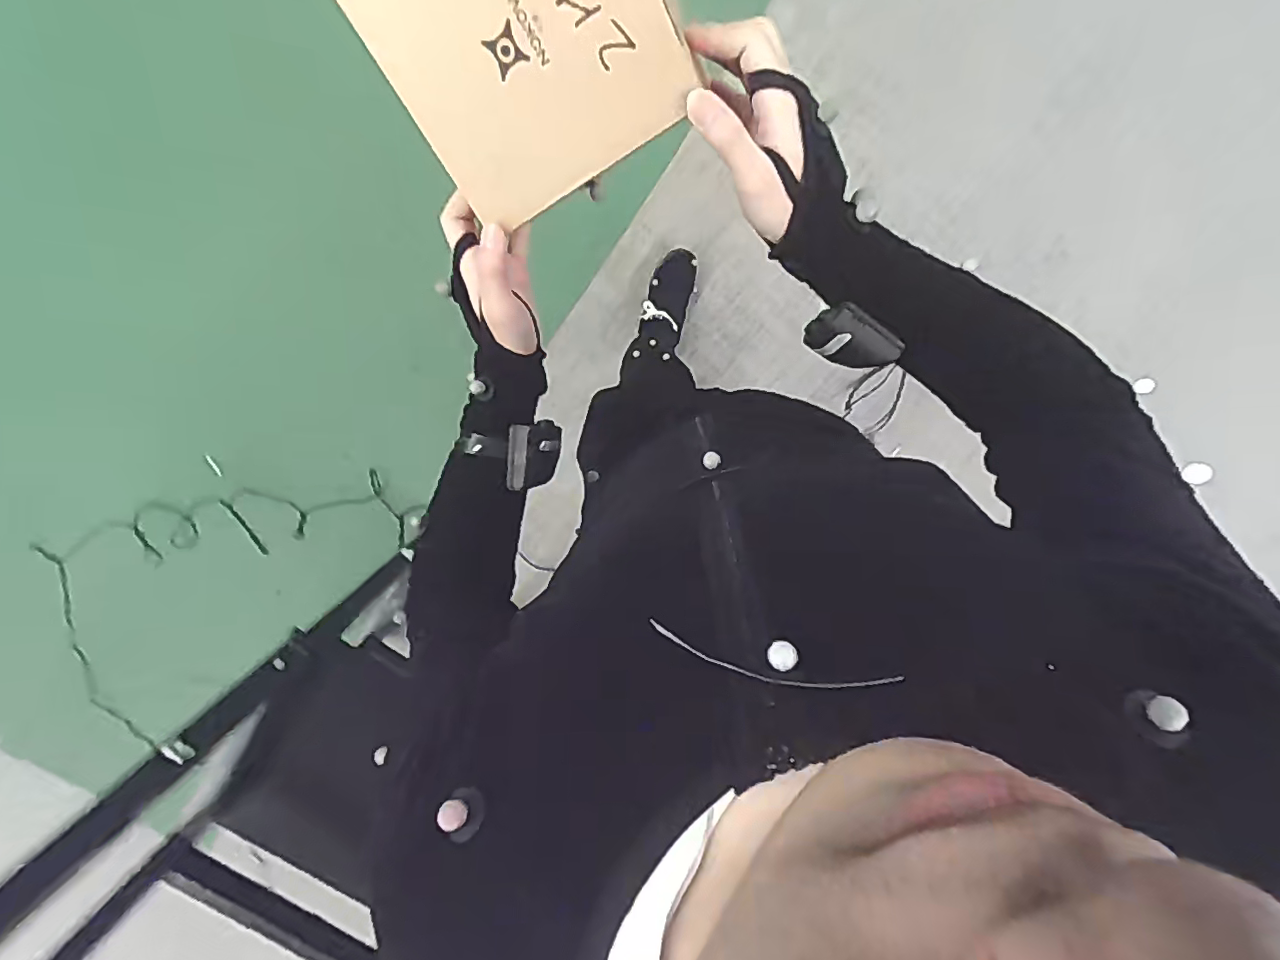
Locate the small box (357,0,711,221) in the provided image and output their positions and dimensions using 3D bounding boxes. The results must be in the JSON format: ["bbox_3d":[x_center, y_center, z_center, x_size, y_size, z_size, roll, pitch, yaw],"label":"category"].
[{"bbox_3d":[-0.059,-0.323,0.399,0.179,0.176,0.168,-21,118,23],"label":"small box"}]
